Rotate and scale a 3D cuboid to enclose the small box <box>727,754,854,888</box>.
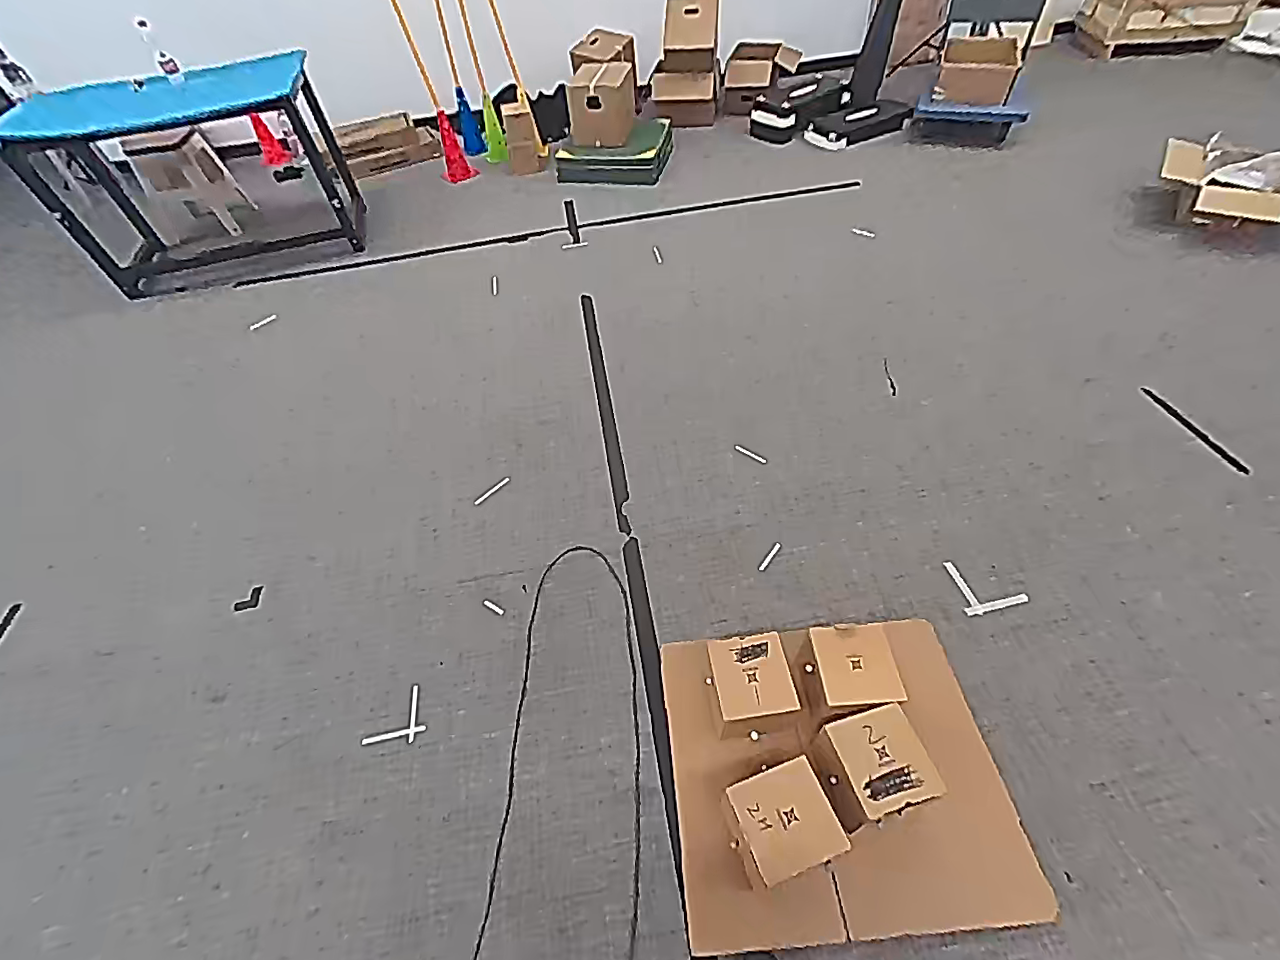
[{"bbox_3d":[0.284,0.672,1.064,0.179,0.176,0.168,-17,50,-9],"label":"small box"}]

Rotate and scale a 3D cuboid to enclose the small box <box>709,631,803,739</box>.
[{"bbox_3d":[0.255,0.470,1.236,0.168,0.176,0.179,-8,51,-2],"label":"small box"}]
